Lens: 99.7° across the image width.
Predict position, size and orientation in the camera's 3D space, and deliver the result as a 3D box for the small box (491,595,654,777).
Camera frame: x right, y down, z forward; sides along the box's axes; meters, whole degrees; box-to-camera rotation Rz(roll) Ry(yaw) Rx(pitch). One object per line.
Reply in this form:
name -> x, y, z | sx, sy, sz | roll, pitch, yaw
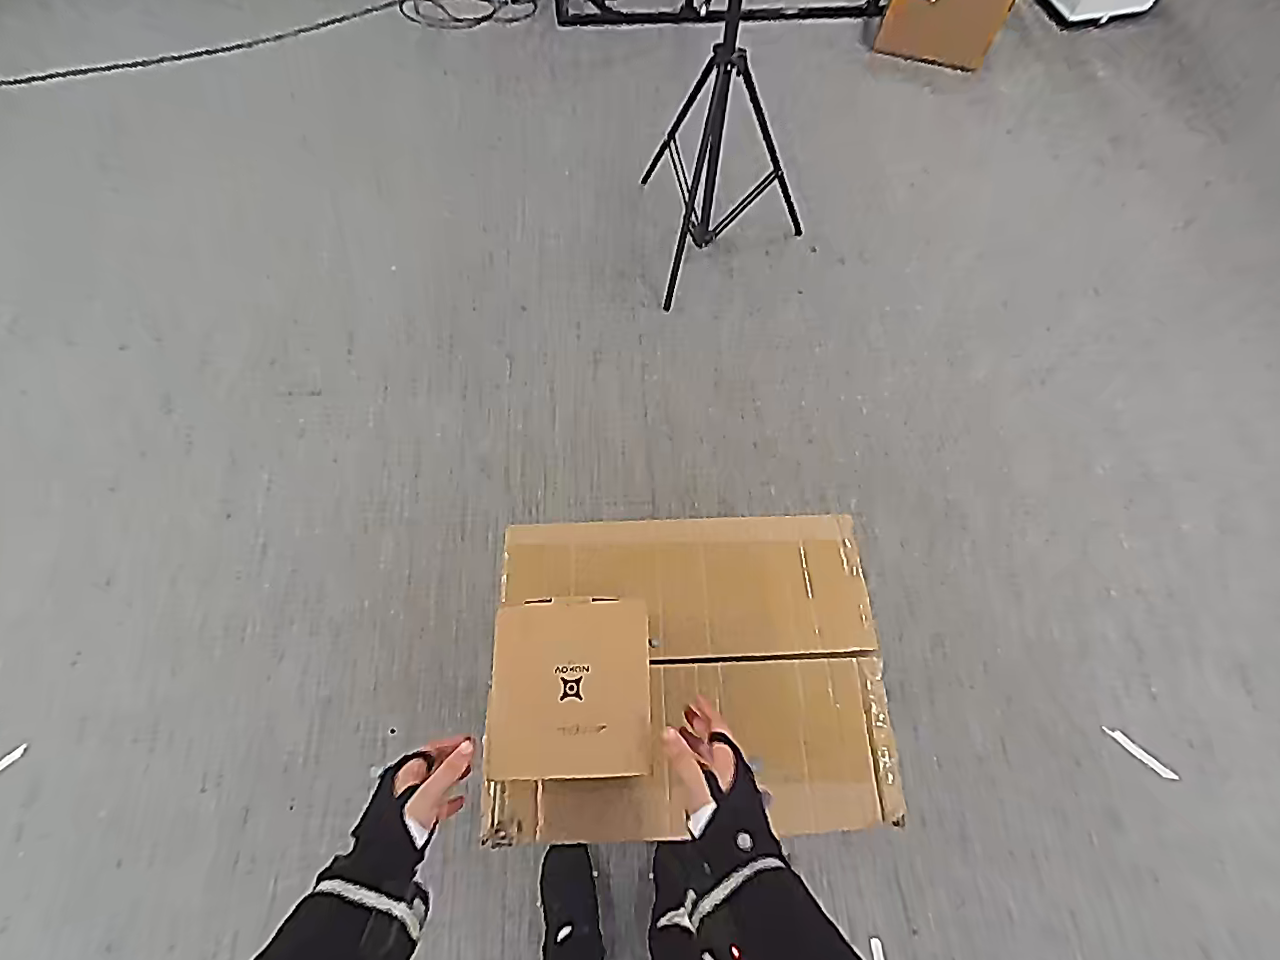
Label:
small box -> -0.071, 0.240, 0.643 | 0.168, 0.176, 0.179 | -3, 70, -1
